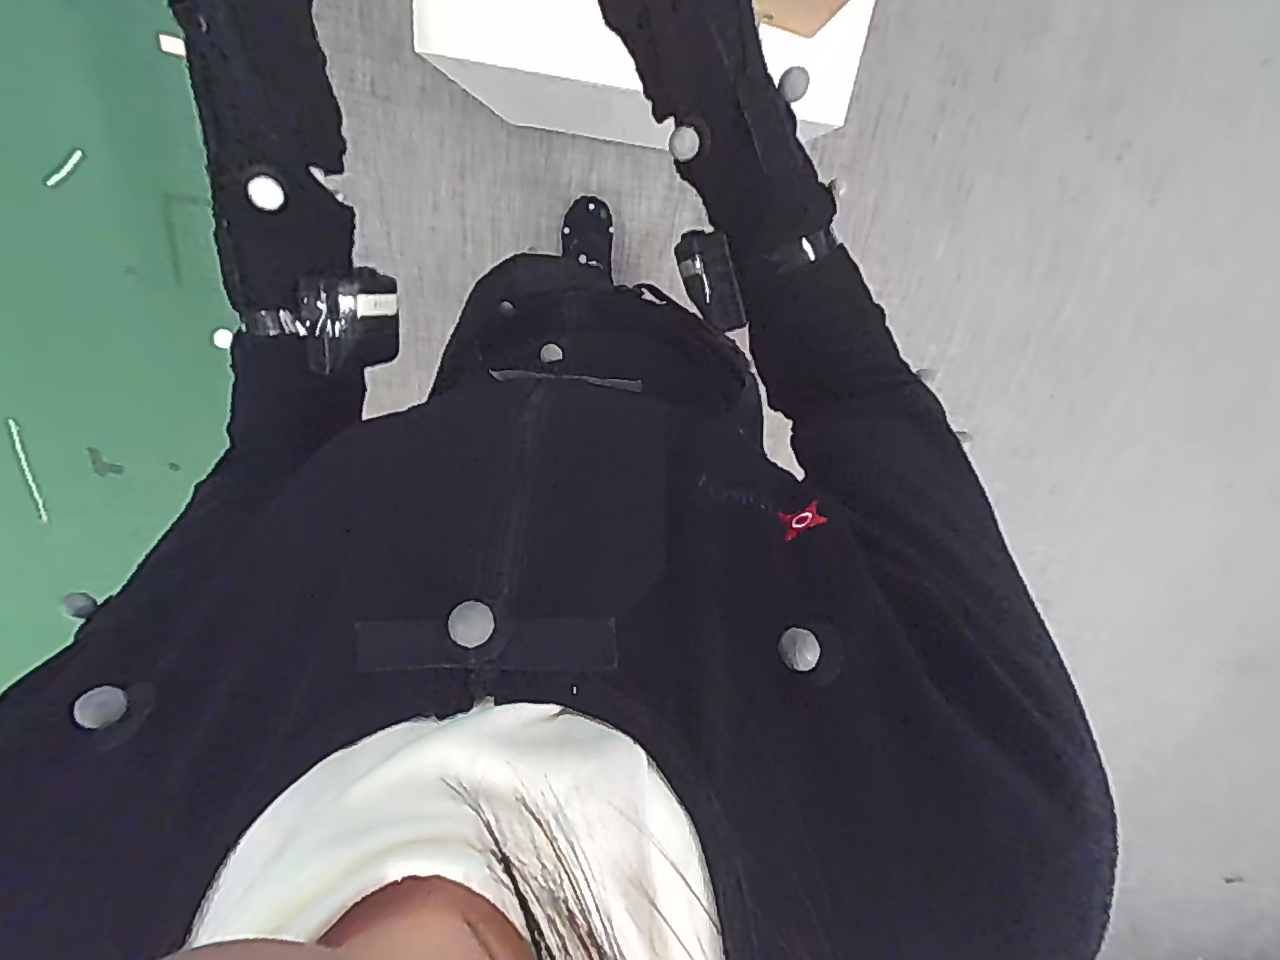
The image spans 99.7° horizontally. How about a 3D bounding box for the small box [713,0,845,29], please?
[{"bbox_3d":[0.138,-0.556,0.486,0.168,0.176,0.179,12,116,-6],"label":"small box"}]
